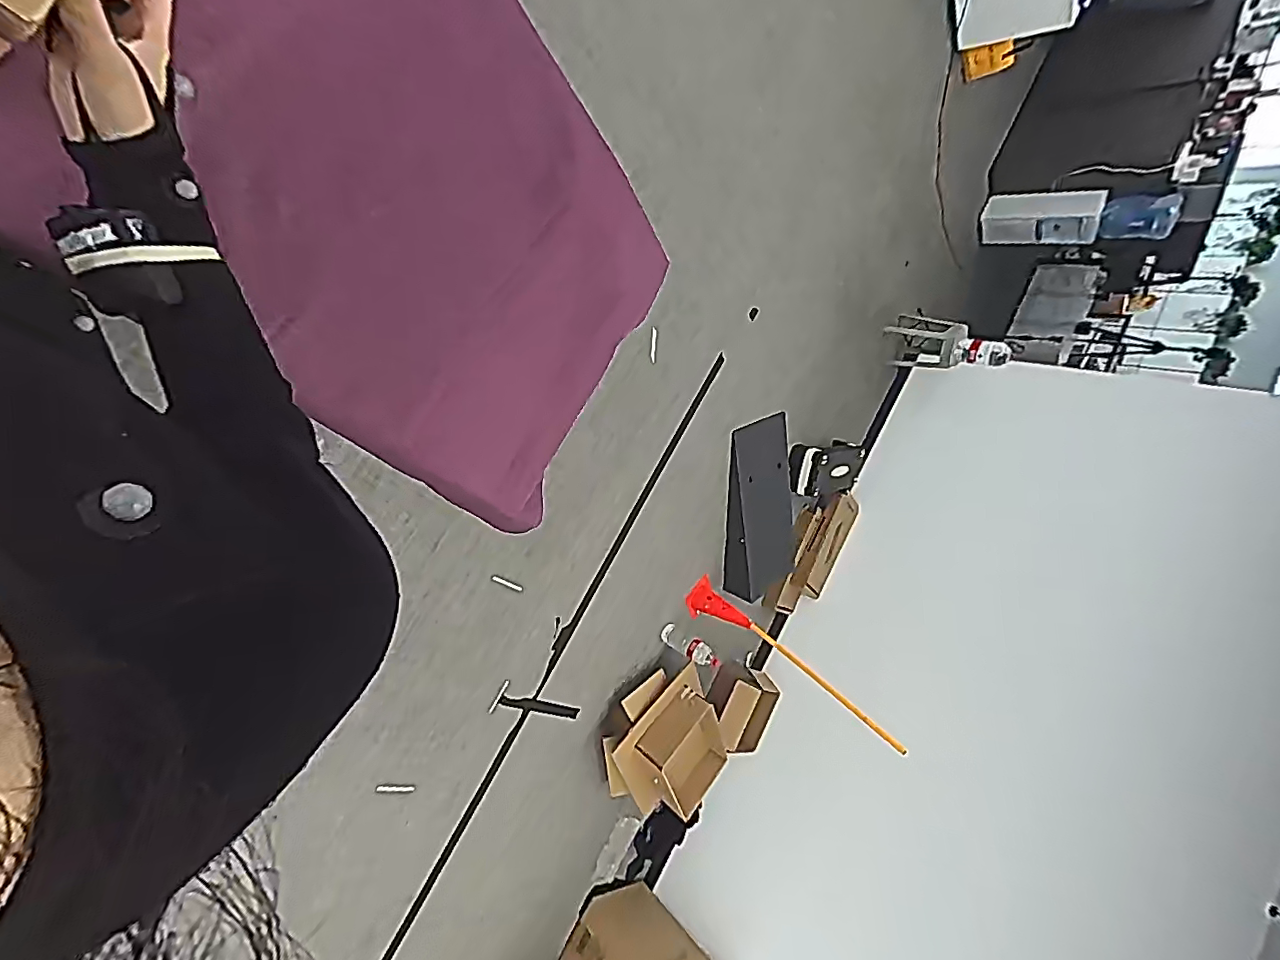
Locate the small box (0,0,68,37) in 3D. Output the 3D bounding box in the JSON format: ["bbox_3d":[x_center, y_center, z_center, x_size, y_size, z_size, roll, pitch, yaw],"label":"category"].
[{"bbox_3d":[-0.346,-0.351,0.252,0.179,0.176,0.168,-57,145,-2],"label":"small box"}]
